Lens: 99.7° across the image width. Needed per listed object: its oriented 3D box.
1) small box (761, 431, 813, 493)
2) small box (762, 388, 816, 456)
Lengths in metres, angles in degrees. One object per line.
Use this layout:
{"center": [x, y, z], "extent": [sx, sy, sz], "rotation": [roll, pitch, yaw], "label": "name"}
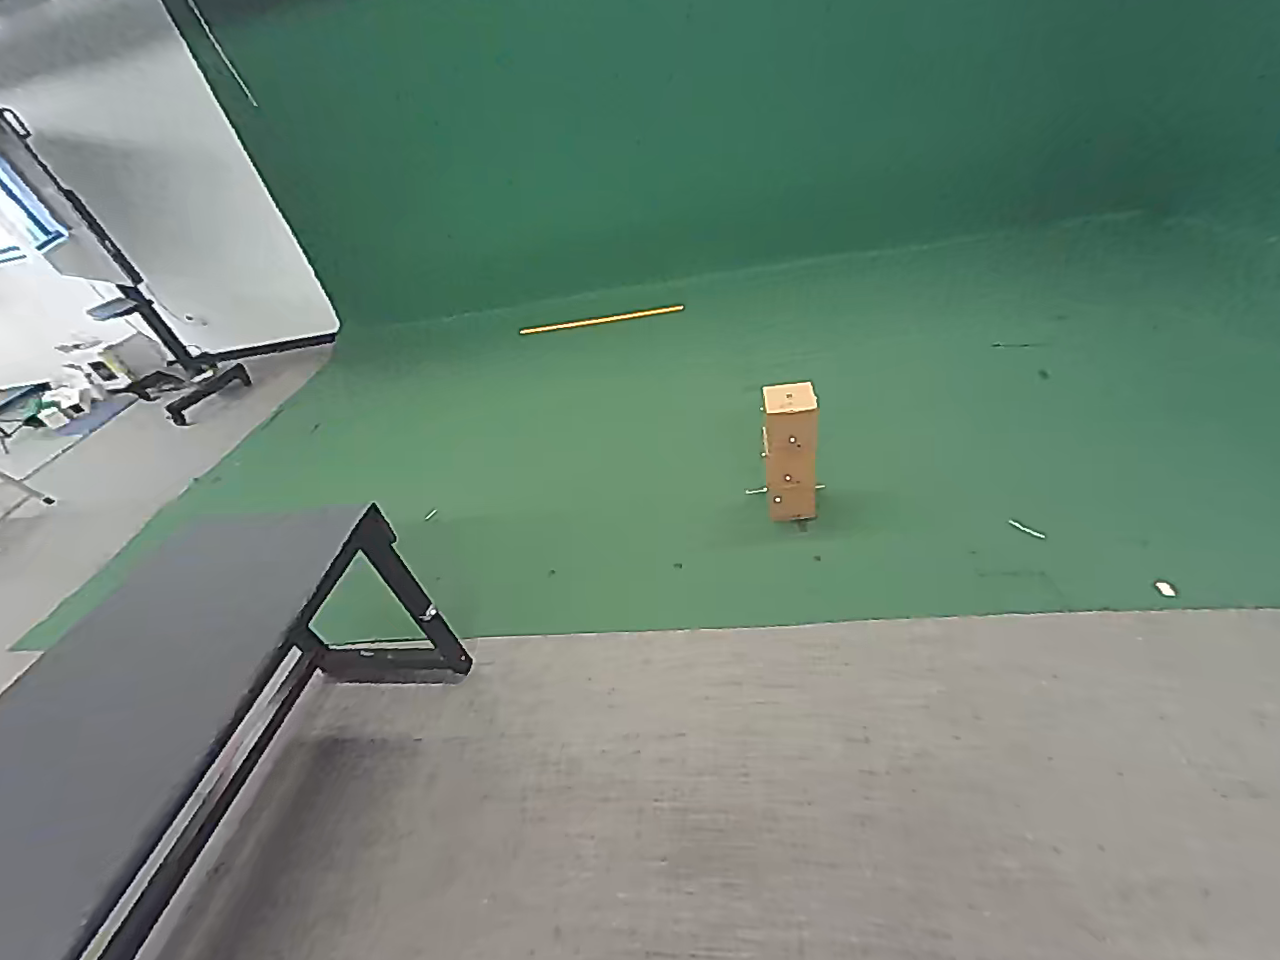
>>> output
{"center": [0.537, -0.072, 1.993], "extent": [0.168, 0.176, 0.179], "rotation": [-5, 38, 10], "label": "small box"}
{"center": [0.517, -0.203, 1.895], "extent": [0.168, 0.176, 0.179], "rotation": [-4, 39, 11], "label": "small box"}
